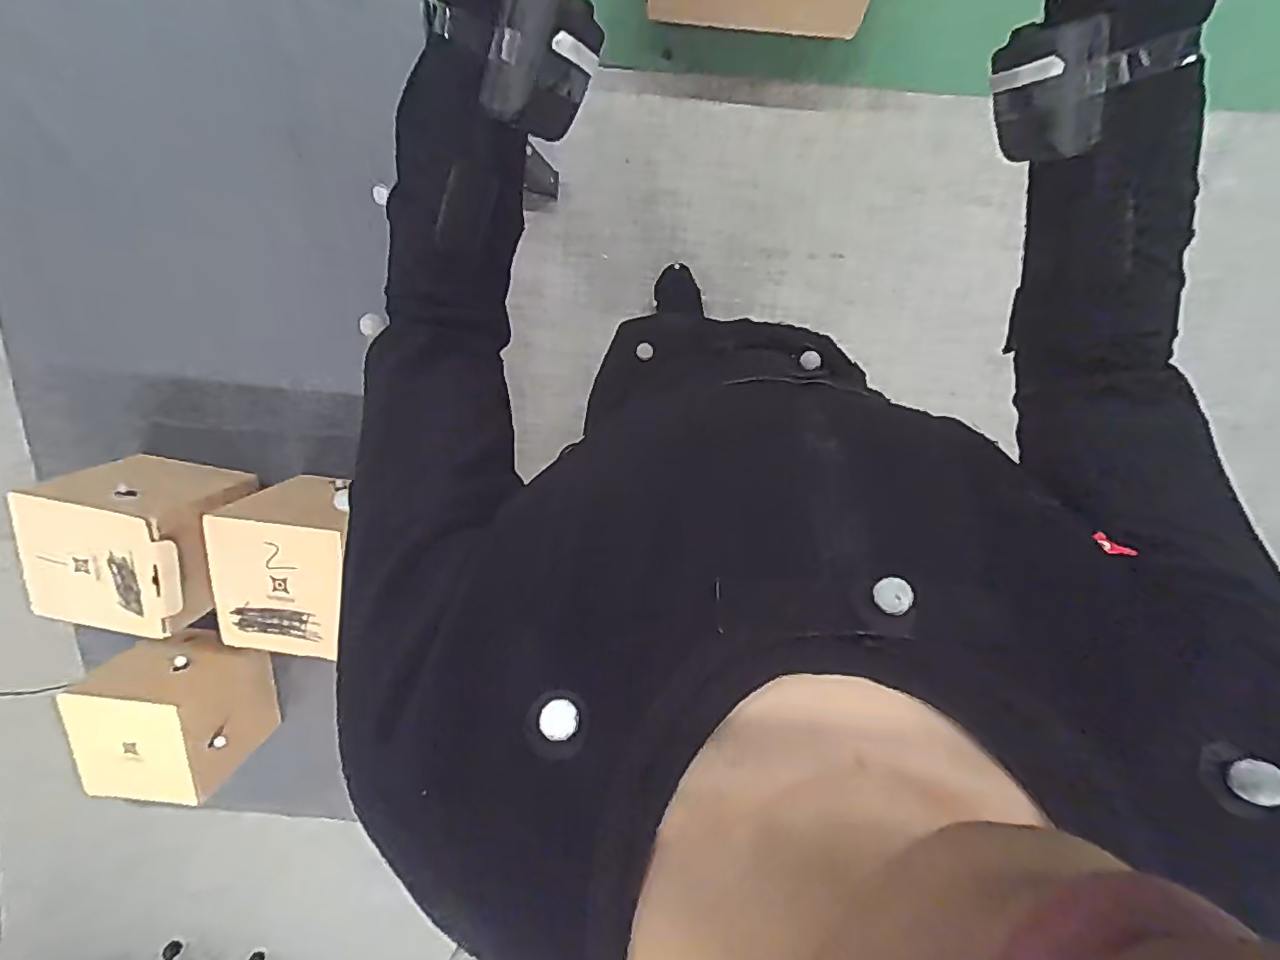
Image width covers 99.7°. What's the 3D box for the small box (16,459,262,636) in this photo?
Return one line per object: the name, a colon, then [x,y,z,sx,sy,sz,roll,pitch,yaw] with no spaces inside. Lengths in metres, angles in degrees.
small box: [-0.641,0.079,0.721,0.179,0.176,0.168,11,107,2]
